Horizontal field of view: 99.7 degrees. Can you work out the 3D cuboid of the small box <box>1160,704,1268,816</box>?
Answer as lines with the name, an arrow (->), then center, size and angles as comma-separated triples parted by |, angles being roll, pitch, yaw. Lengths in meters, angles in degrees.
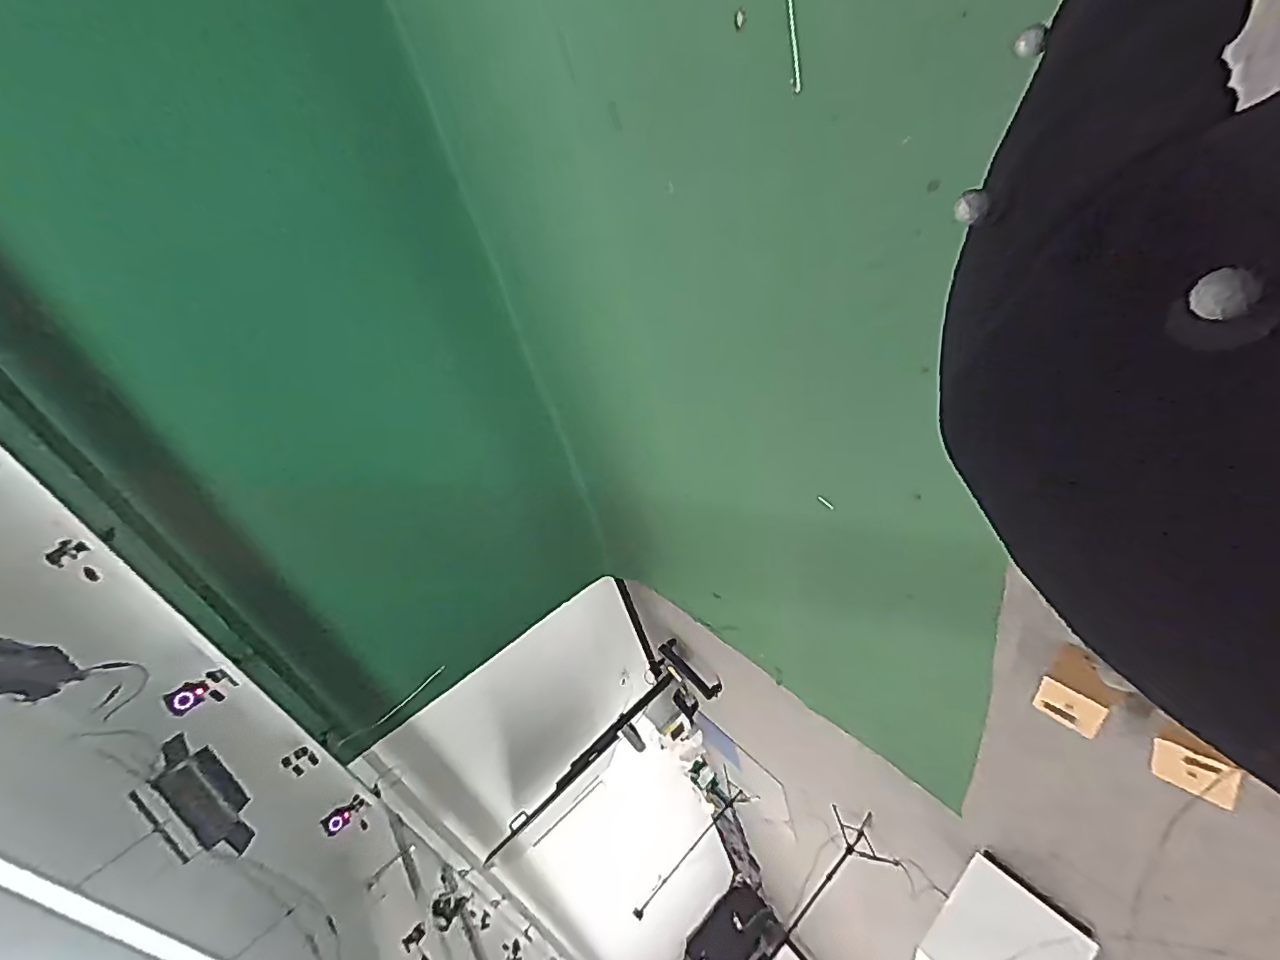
small box -> 1.558, 0.751, 1.470 | 0.168, 0.176, 0.179 | 19, 137, 55
